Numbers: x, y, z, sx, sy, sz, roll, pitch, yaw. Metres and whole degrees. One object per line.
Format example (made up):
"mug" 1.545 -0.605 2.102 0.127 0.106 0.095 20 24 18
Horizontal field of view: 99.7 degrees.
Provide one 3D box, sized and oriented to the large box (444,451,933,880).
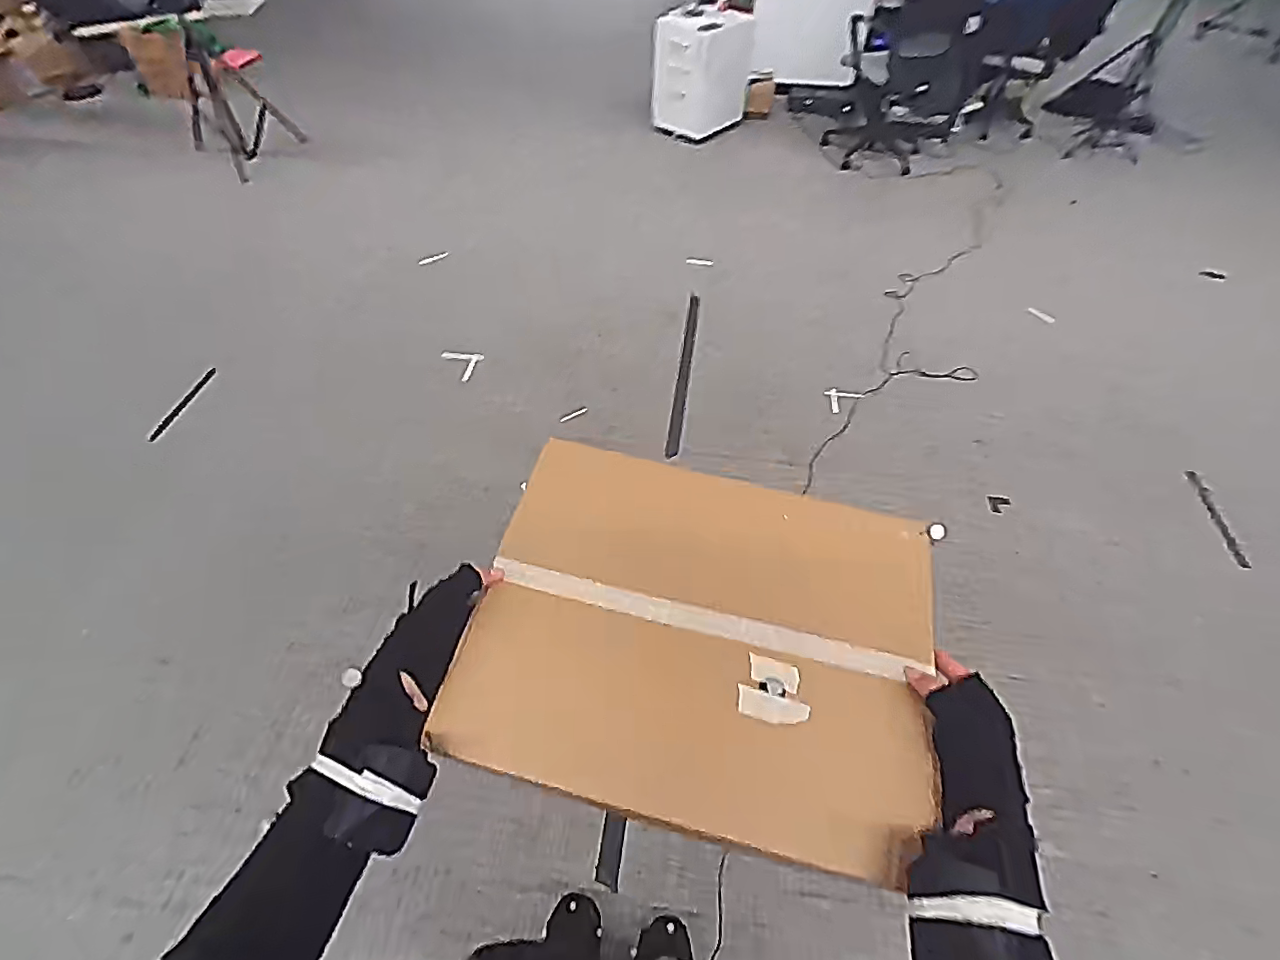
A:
"large box" 0.056 0.213 0.627 0.408 0.320 0.320 14 59 6
